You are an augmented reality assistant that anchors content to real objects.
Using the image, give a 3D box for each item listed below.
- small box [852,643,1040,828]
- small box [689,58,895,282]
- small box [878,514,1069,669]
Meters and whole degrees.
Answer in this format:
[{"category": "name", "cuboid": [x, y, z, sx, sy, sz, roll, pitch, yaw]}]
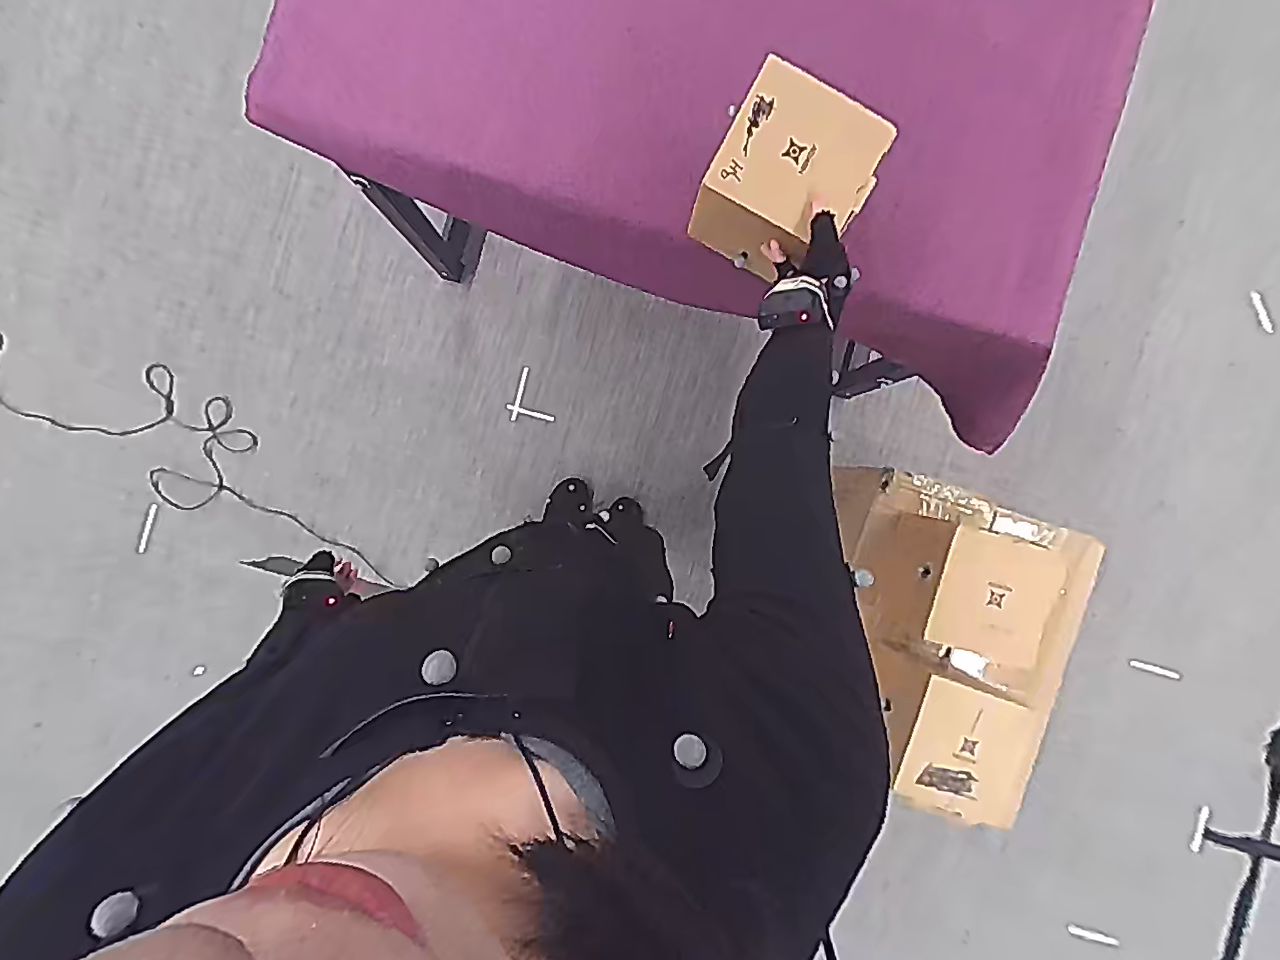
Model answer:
[{"category": "small box", "cuboid": [0.450, 0.376, 0.828, 0.168, 0.176, 0.179, 20, 88, -1]}, {"category": "small box", "cuboid": [0.184, -0.382, 0.709, 0.179, 0.176, 0.168, 28, 93, -4]}, {"category": "small box", "cuboid": [0.495, 0.158, 0.831, 0.168, 0.176, 0.179, 16, 91, 0]}]
